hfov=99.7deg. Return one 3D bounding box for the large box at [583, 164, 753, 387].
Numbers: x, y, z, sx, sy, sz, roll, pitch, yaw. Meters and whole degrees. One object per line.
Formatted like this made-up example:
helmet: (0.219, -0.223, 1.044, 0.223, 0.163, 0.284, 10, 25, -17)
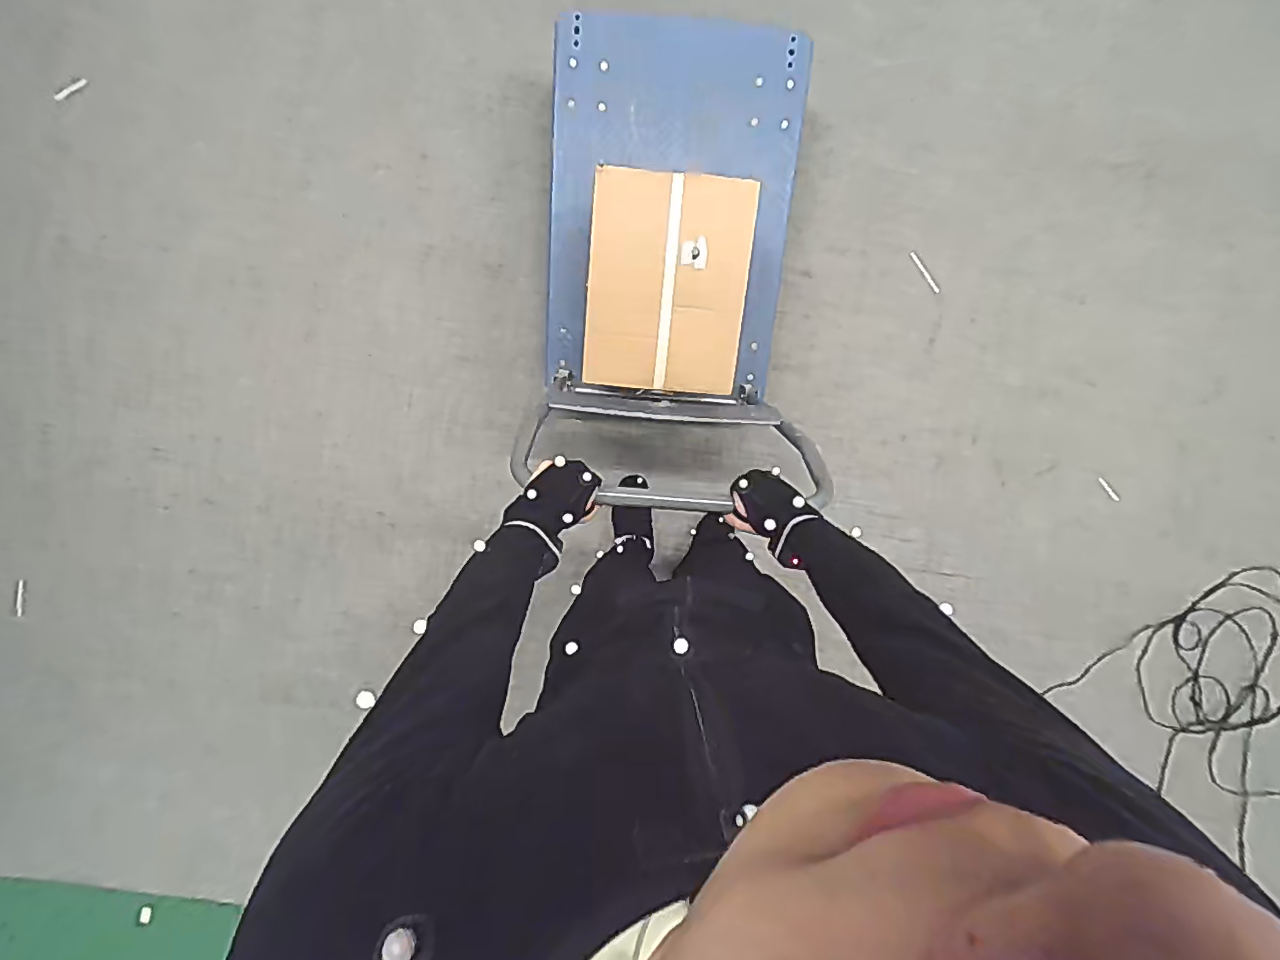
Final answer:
large box: (0.048, -0.431, 1.211, 0.320, 0.320, 0.408, 4, 106, -3)
